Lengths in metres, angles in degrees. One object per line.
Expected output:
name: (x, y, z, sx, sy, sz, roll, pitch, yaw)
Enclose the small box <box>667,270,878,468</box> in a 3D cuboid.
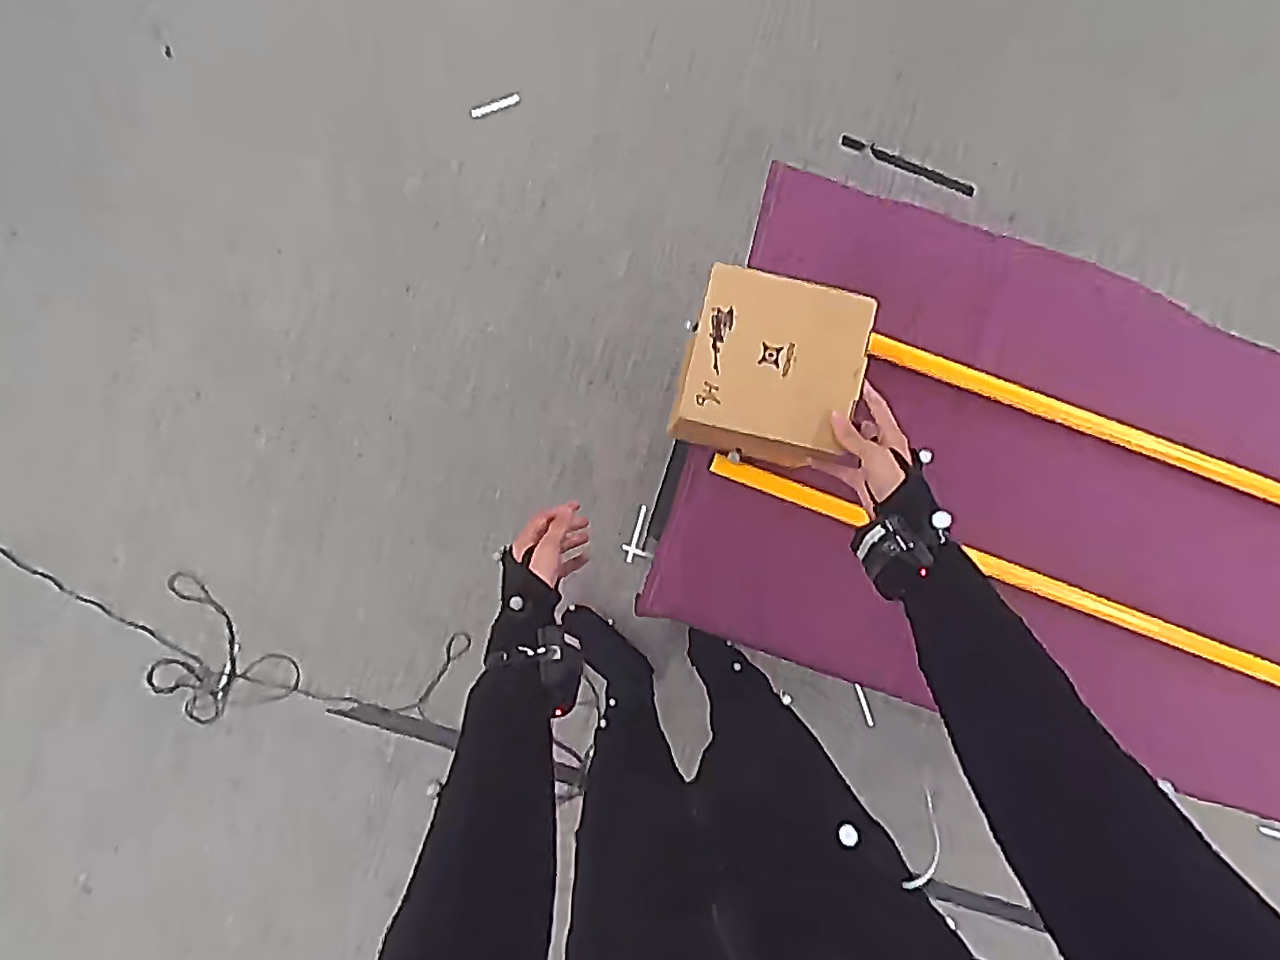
small box: (0.137, -0.111, 0.623, 0.179, 0.176, 0.168, 14, 87, -1)
